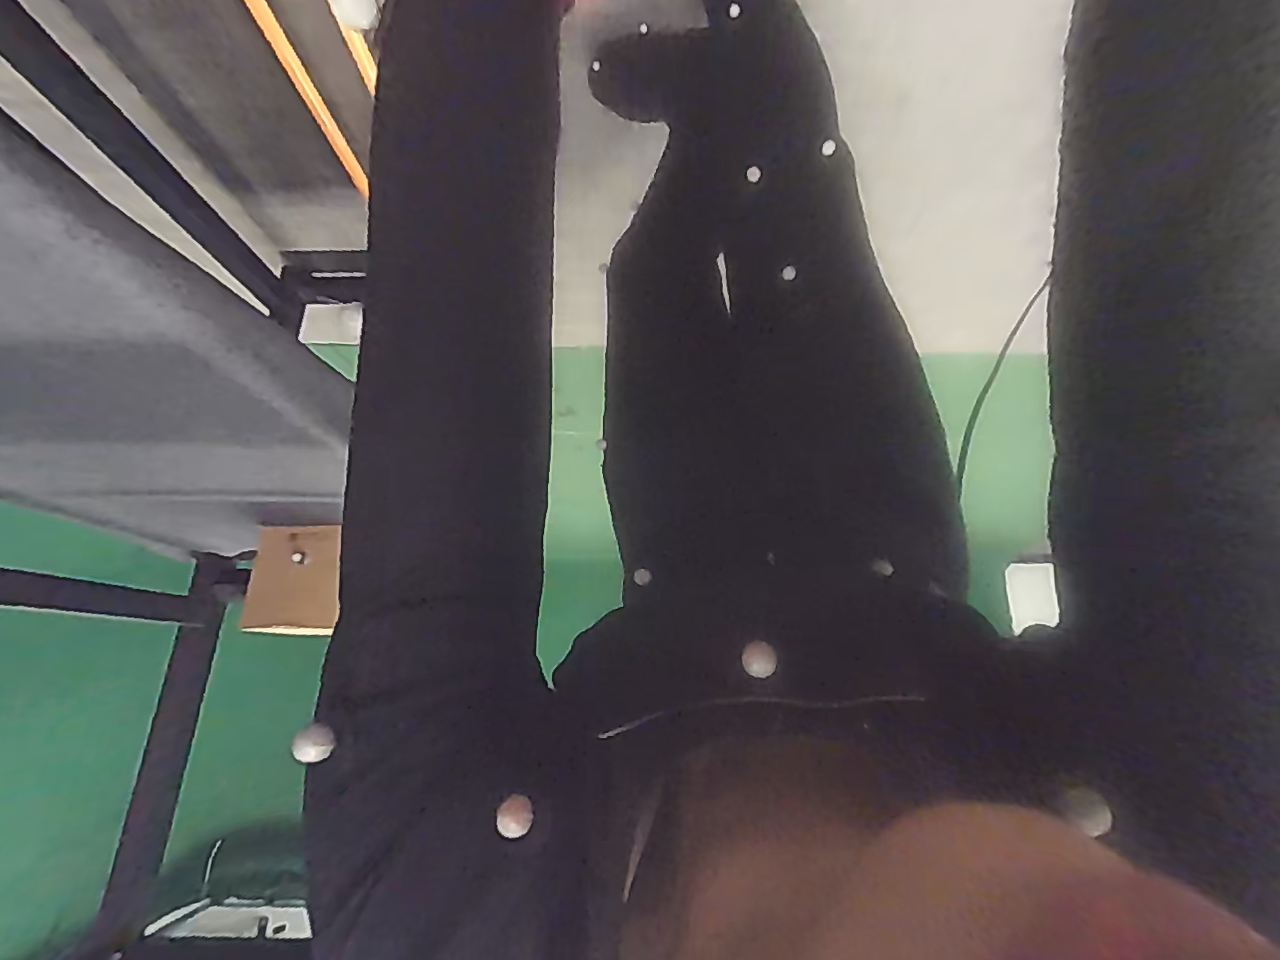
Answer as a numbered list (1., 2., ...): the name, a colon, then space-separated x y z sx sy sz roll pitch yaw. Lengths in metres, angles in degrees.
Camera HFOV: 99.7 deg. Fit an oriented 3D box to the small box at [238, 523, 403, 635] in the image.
1. small box: -0.541 0.178 0.944 0.168 0.176 0.179 -2 161 7
